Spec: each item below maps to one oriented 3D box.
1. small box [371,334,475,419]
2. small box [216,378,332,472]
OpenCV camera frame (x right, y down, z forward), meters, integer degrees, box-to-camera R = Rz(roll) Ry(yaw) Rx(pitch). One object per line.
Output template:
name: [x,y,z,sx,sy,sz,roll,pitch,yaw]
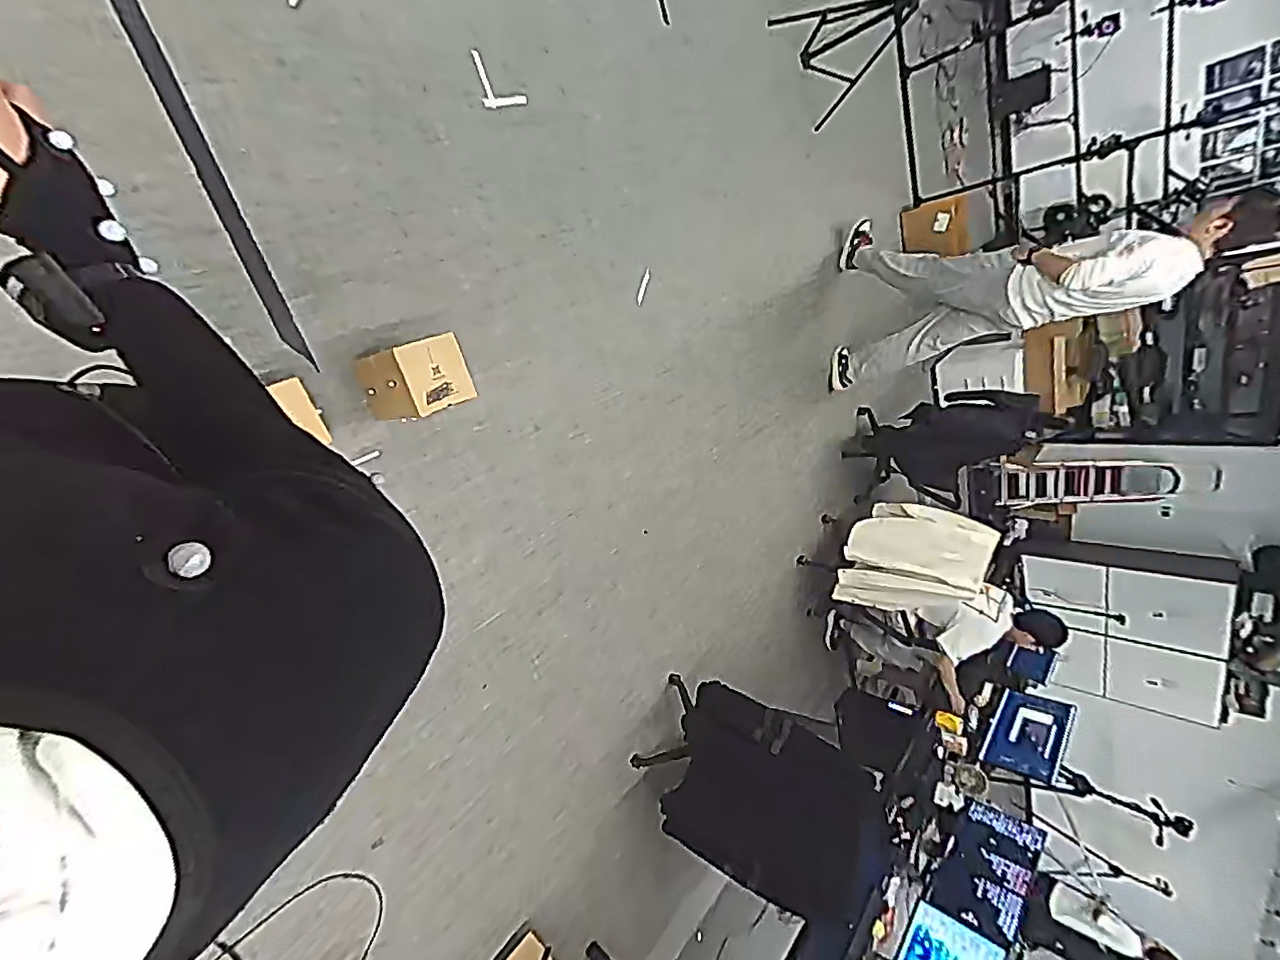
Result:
small box: [-0.564,-0.266,1.405,0.168,0.176,0.179,-32,113,-38]
small box: [-0.901,-0.133,1.328,0.168,0.176,0.179,-36,117,-35]
